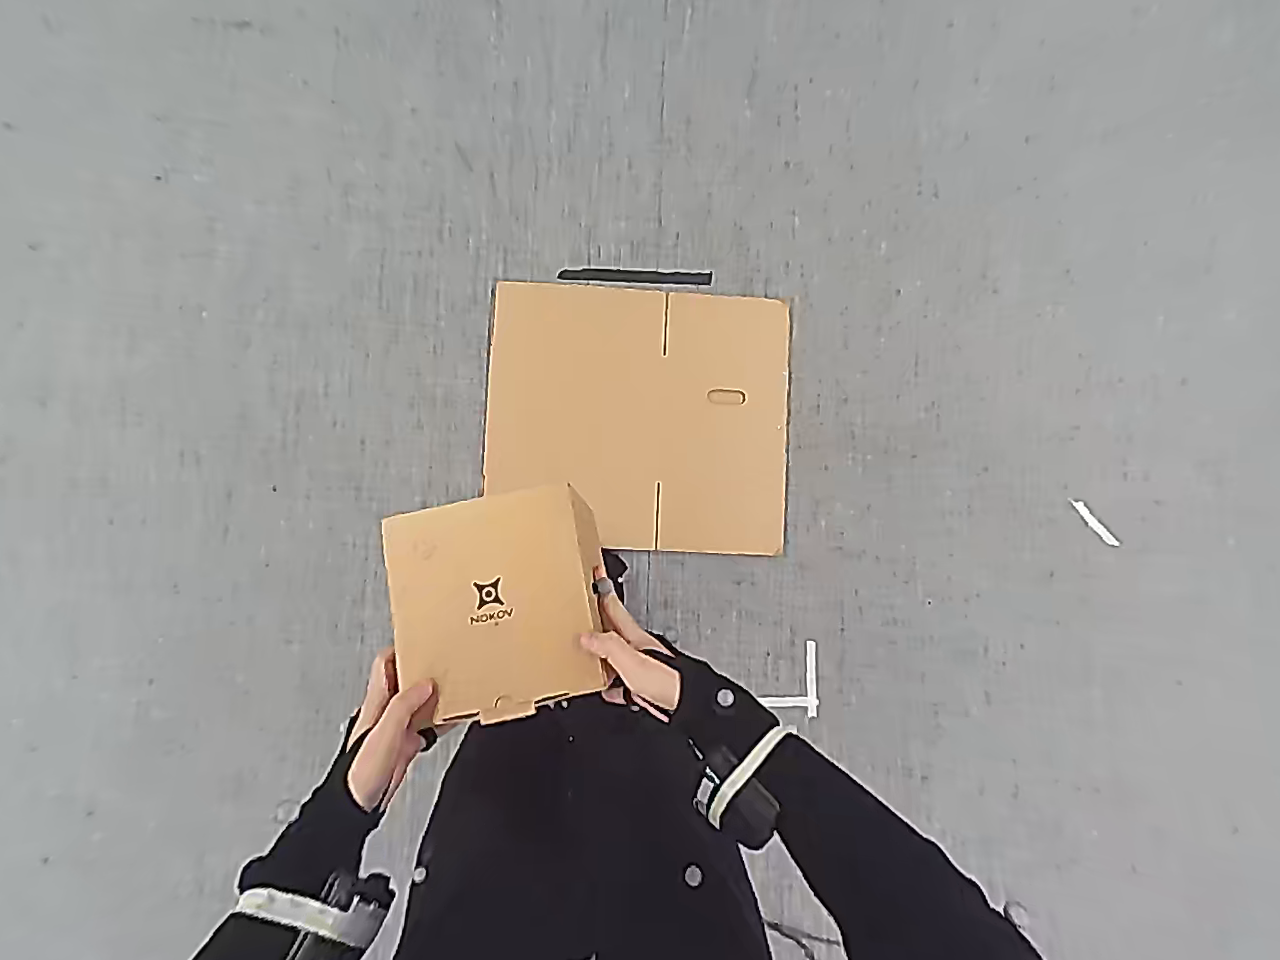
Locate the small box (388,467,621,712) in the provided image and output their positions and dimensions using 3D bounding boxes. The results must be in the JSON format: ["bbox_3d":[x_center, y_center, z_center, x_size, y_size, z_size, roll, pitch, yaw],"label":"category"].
[{"bbox_3d":[-0.118,0.103,0.525,0.168,0.176,0.179,-12,79,0],"label":"small box"}]
